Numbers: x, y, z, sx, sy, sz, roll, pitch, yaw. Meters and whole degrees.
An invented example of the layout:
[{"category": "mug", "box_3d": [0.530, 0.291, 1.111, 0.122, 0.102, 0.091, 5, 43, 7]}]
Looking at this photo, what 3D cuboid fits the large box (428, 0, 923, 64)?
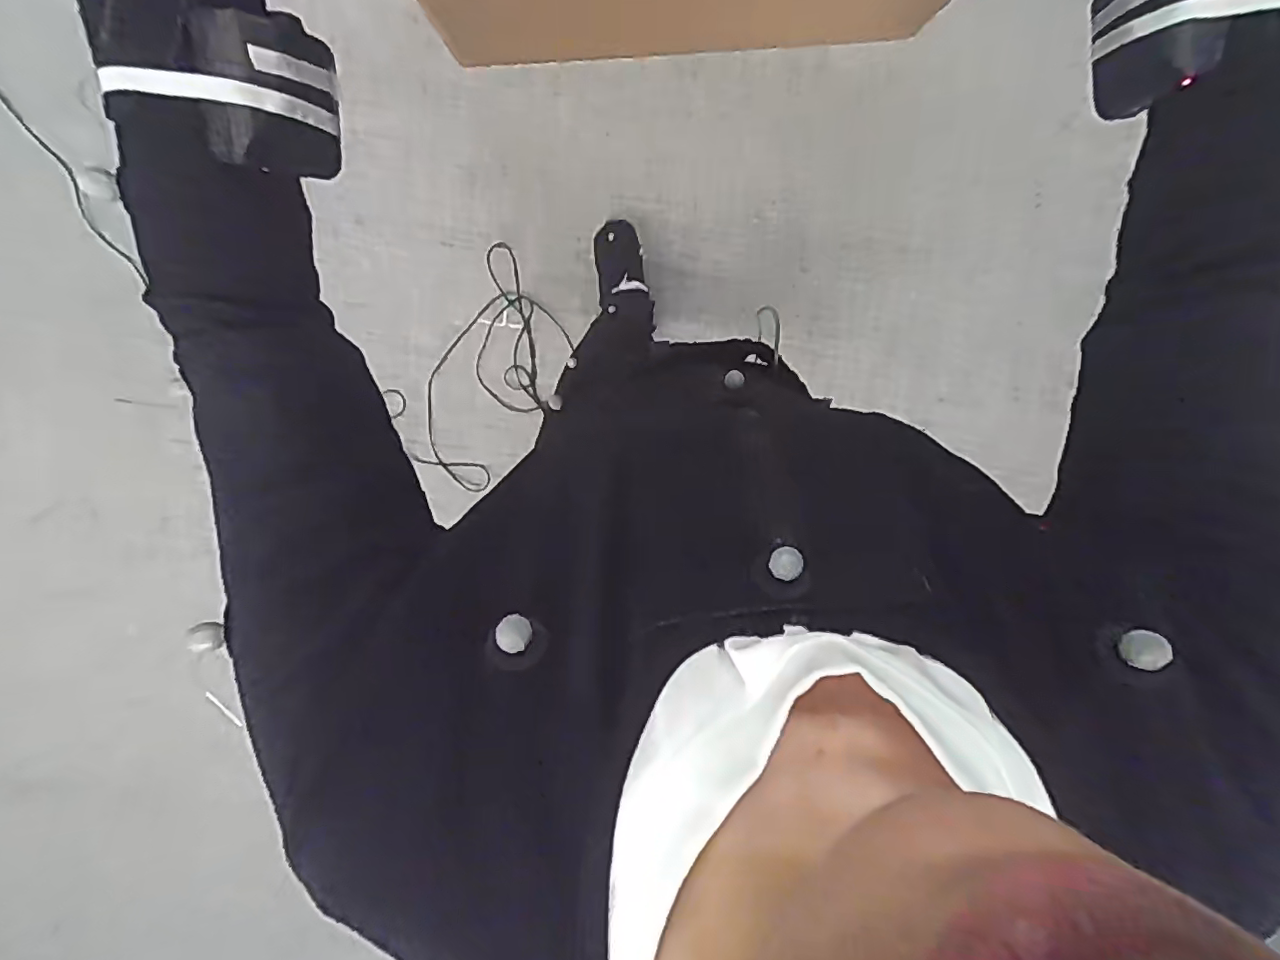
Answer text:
[{"category": "large box", "box_3d": [0.032, -0.487, 0.296, 0.408, 0.320, 0.320, -5, 107, -2]}]
